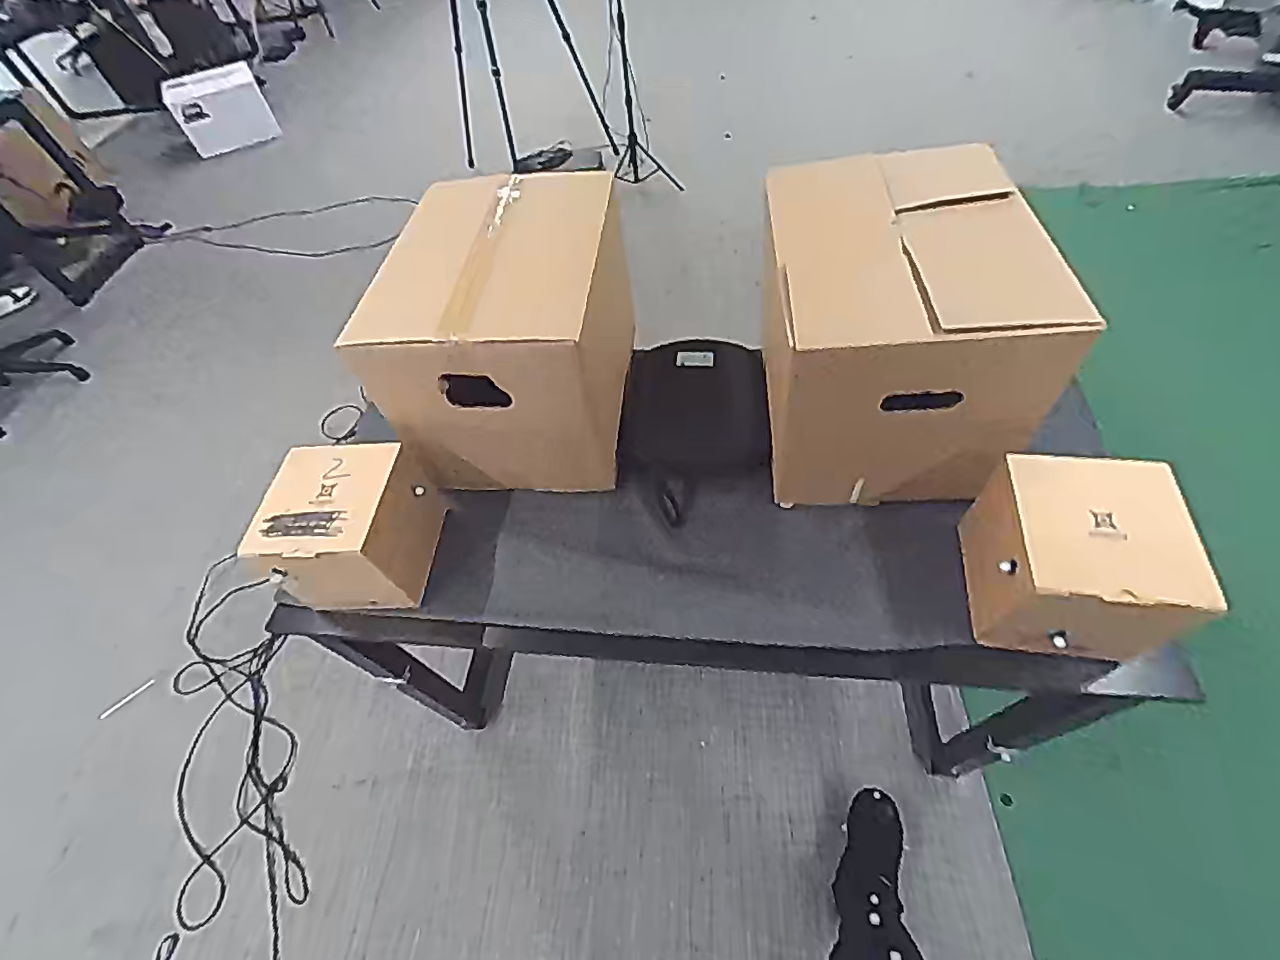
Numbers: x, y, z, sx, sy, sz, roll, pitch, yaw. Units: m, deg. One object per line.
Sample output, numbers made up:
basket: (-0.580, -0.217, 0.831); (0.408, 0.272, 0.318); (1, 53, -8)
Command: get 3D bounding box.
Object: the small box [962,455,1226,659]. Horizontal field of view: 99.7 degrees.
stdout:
small box: (0.507, 0.093, 0.643); (0.168, 0.176, 0.179); (5, 57, 12)
